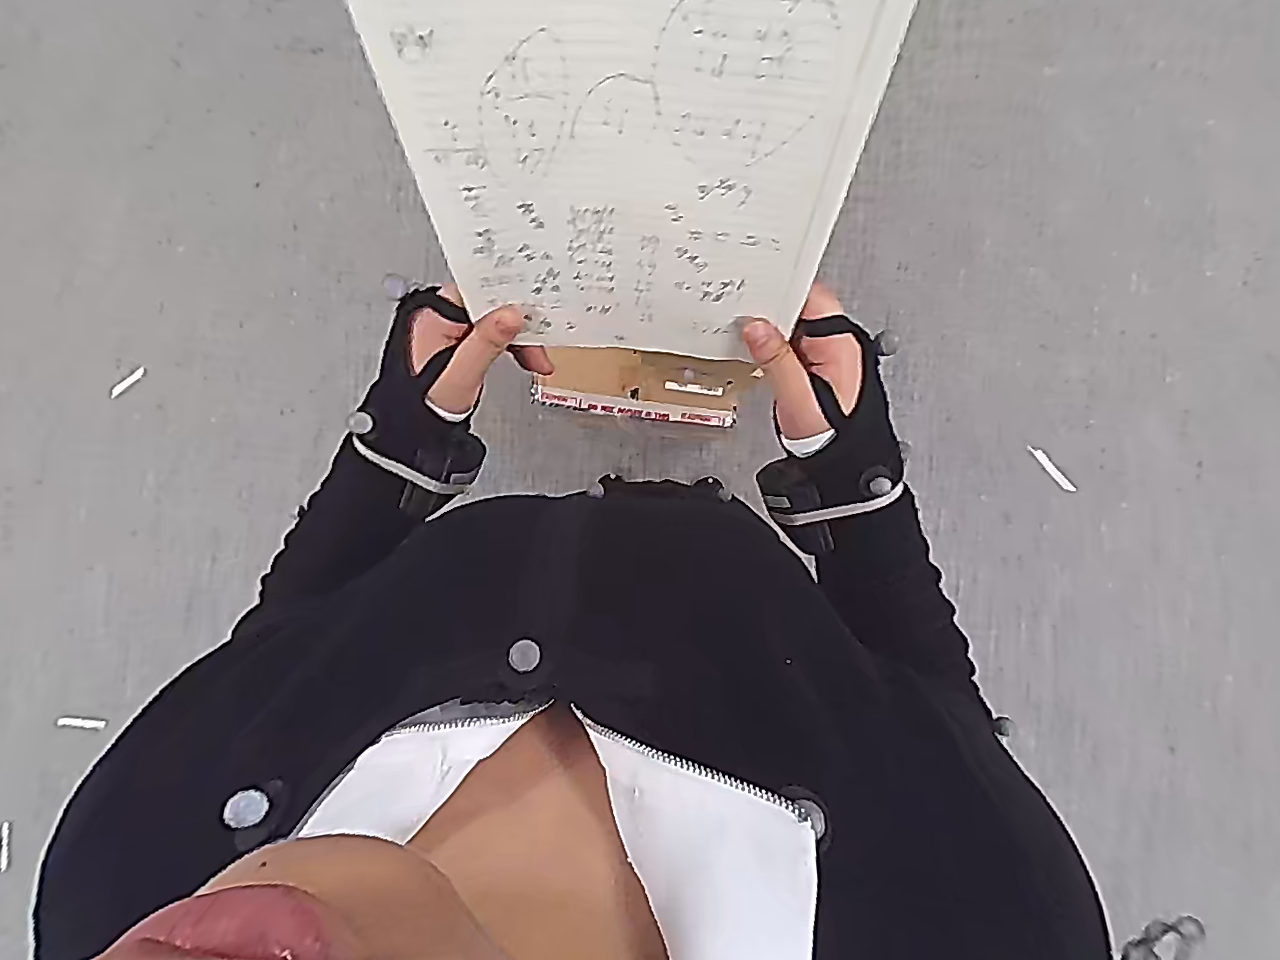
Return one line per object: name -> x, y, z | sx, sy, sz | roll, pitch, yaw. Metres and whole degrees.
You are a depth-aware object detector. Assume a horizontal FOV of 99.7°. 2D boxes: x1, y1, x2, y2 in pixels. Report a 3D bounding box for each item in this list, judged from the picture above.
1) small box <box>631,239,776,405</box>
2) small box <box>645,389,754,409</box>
small box -> 0.082, -0.214, 0.778 | 0.168, 0.176, 0.179 | 10, 93, 0
small box -> 0.104, -0.219, 0.942 | 0.179, 0.176, 0.168 | 6, 91, 1
